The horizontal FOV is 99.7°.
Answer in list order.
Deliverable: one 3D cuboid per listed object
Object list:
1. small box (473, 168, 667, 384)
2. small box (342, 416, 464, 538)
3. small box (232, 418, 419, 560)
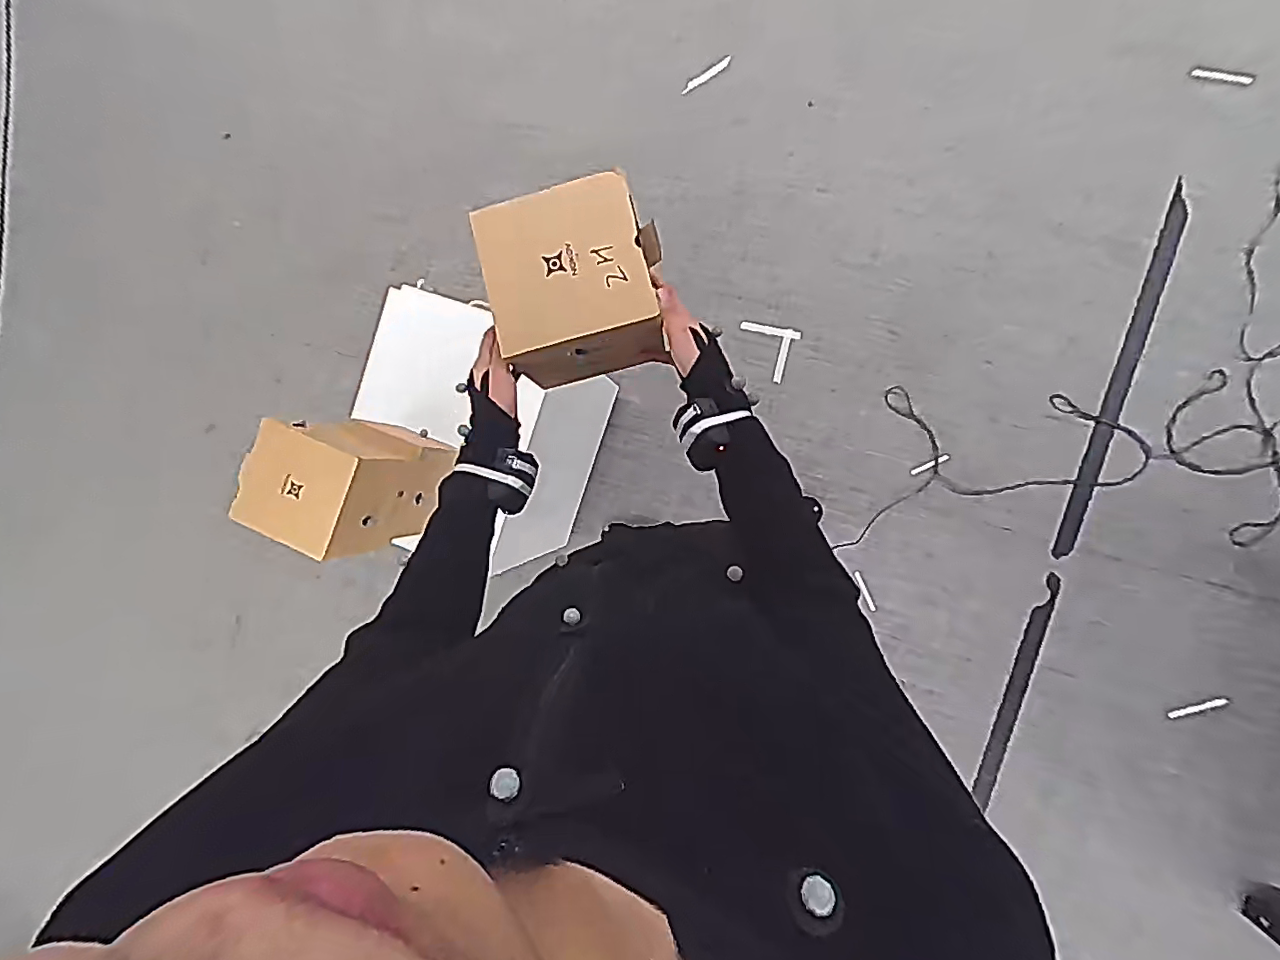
[{"bbox_3d":[-0.071,-0.226,0.647,0.179,0.176,0.168,-14,87,4],"label":"small box"},{"bbox_3d":[-0.465,-0.005,1.037,0.168,0.176,0.179,20,92,9],"label":"small box"},{"bbox_3d":[-0.496,0.011,0.878,0.179,0.176,0.168,22,93,9],"label":"small box"}]
